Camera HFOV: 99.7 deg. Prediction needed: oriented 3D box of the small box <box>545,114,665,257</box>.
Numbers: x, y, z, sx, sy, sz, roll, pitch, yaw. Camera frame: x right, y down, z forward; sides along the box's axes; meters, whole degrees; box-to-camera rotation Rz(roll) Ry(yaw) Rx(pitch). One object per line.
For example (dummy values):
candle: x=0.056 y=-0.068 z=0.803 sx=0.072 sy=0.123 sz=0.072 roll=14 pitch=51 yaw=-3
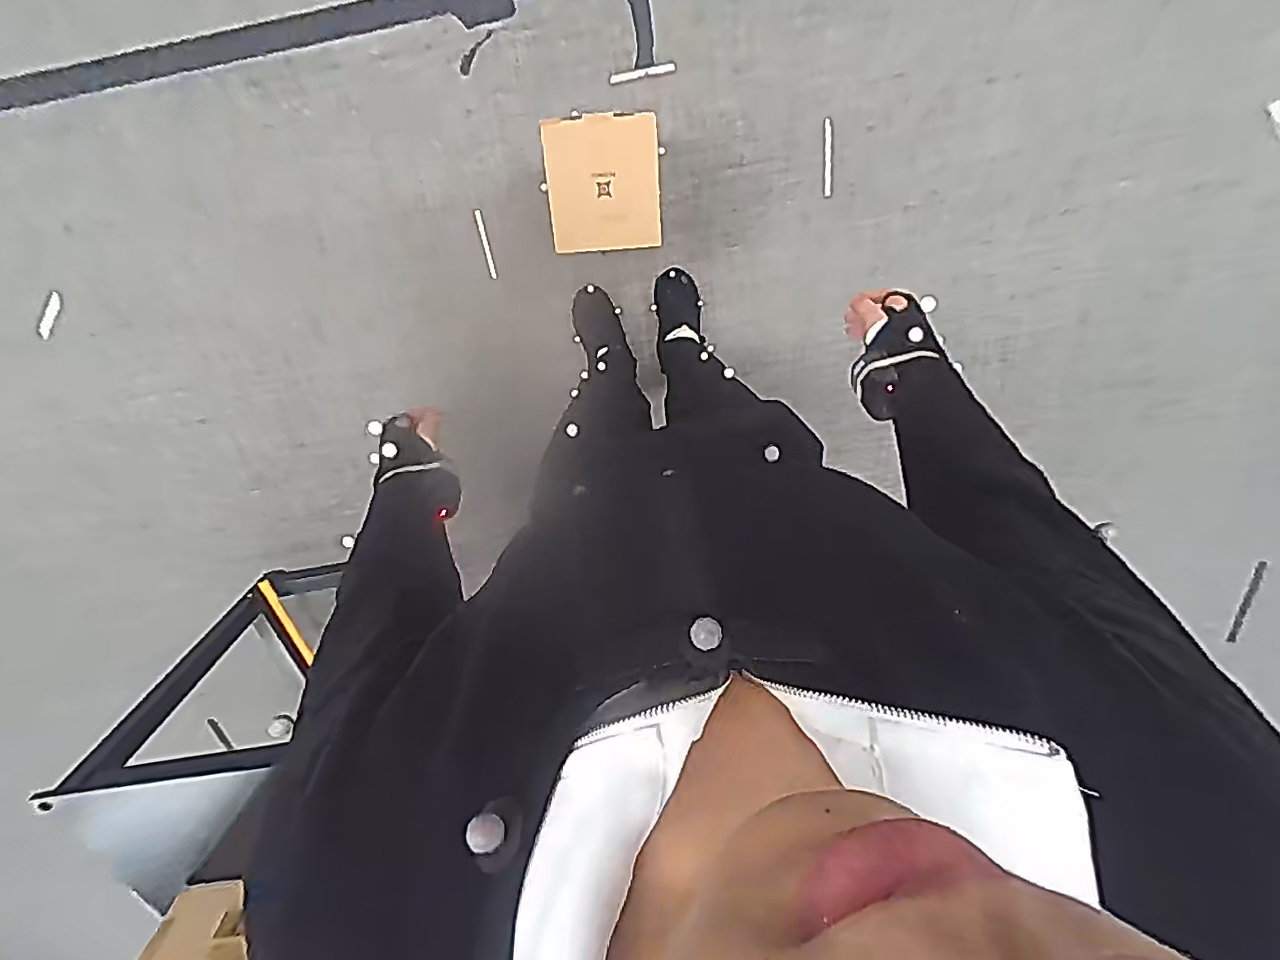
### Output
small box: x=-0.050 y=-0.459 z=0.855 sx=0.168 sy=0.176 sz=0.179 roll=-4 pitch=119 yaw=1
